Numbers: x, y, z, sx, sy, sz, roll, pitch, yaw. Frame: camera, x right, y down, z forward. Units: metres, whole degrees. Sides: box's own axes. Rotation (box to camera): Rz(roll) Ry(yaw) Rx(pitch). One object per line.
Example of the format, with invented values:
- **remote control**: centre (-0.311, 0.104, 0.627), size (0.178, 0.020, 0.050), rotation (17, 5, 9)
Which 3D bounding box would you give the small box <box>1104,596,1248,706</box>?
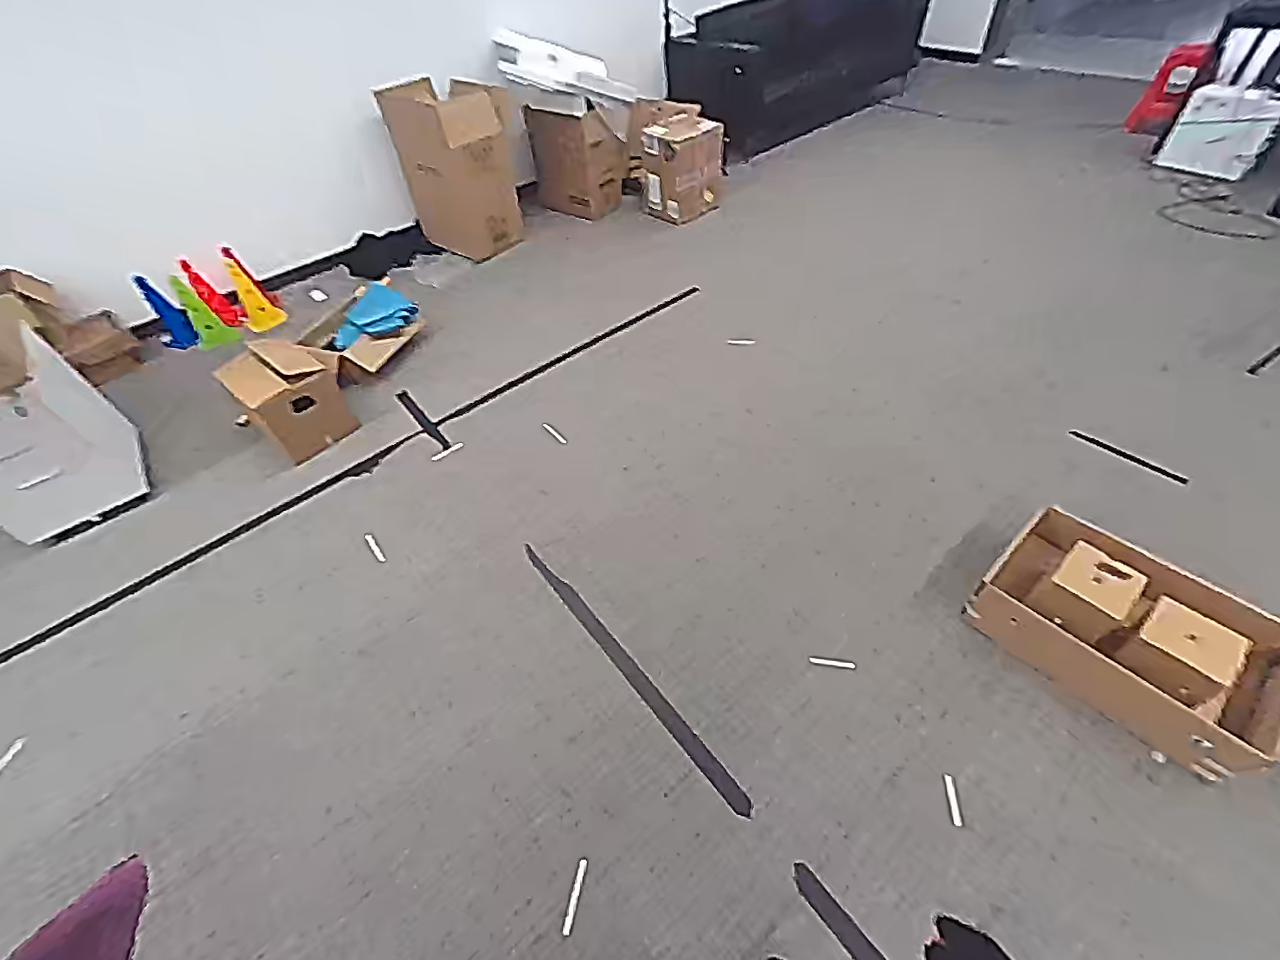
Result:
- **small box**: centre (1.316, 0.431, 1.338), size (0.168, 0.176, 0.179), rotation (-36, 51, -25)
